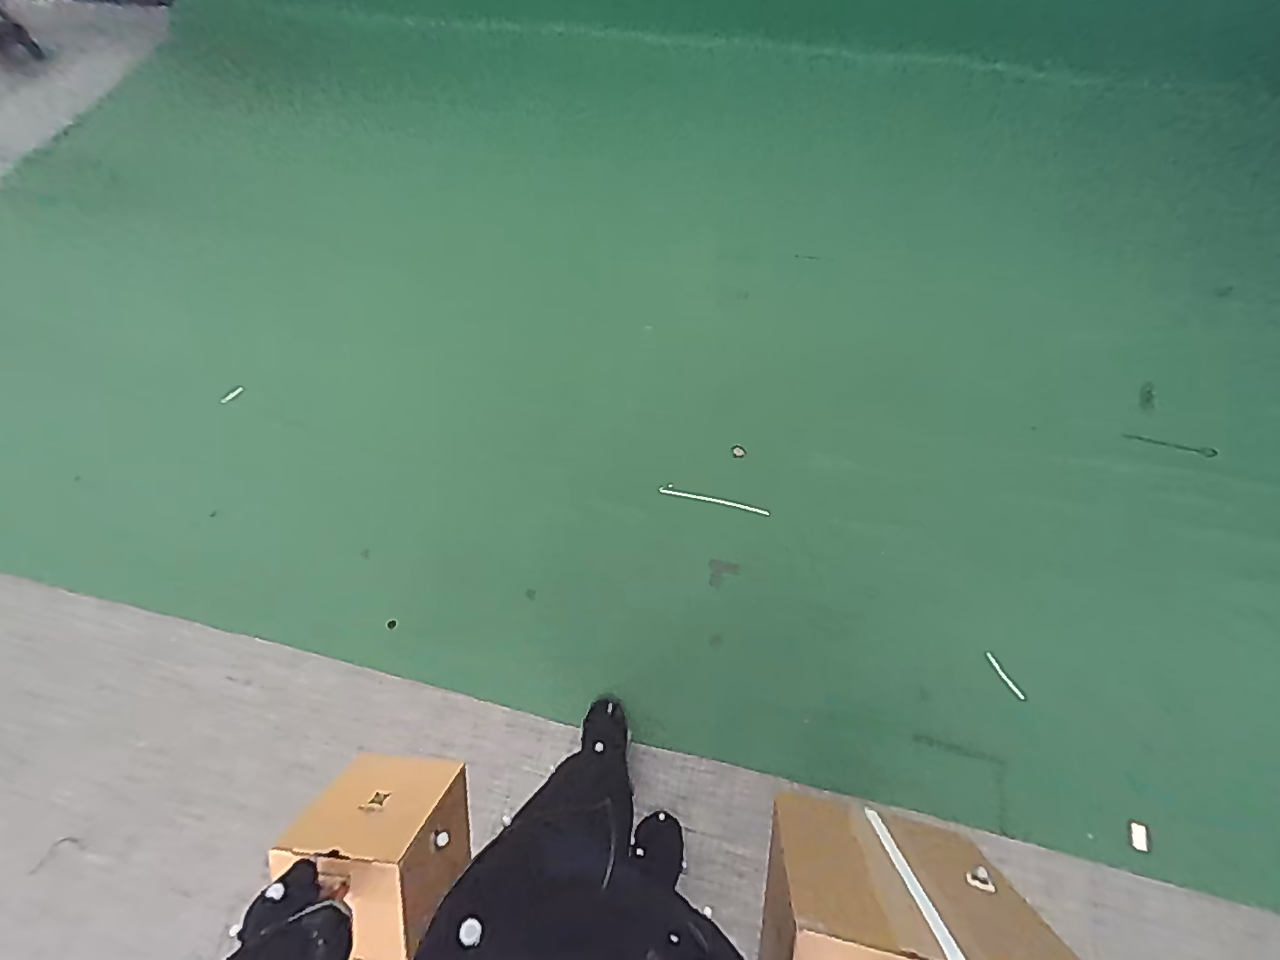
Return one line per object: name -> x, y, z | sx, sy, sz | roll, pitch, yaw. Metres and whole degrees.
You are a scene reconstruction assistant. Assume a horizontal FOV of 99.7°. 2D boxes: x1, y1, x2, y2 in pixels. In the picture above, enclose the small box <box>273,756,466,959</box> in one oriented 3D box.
small box -> -0.345, 0.505, 0.719 | 0.168, 0.179, 0.176 | 1, 100, 7
